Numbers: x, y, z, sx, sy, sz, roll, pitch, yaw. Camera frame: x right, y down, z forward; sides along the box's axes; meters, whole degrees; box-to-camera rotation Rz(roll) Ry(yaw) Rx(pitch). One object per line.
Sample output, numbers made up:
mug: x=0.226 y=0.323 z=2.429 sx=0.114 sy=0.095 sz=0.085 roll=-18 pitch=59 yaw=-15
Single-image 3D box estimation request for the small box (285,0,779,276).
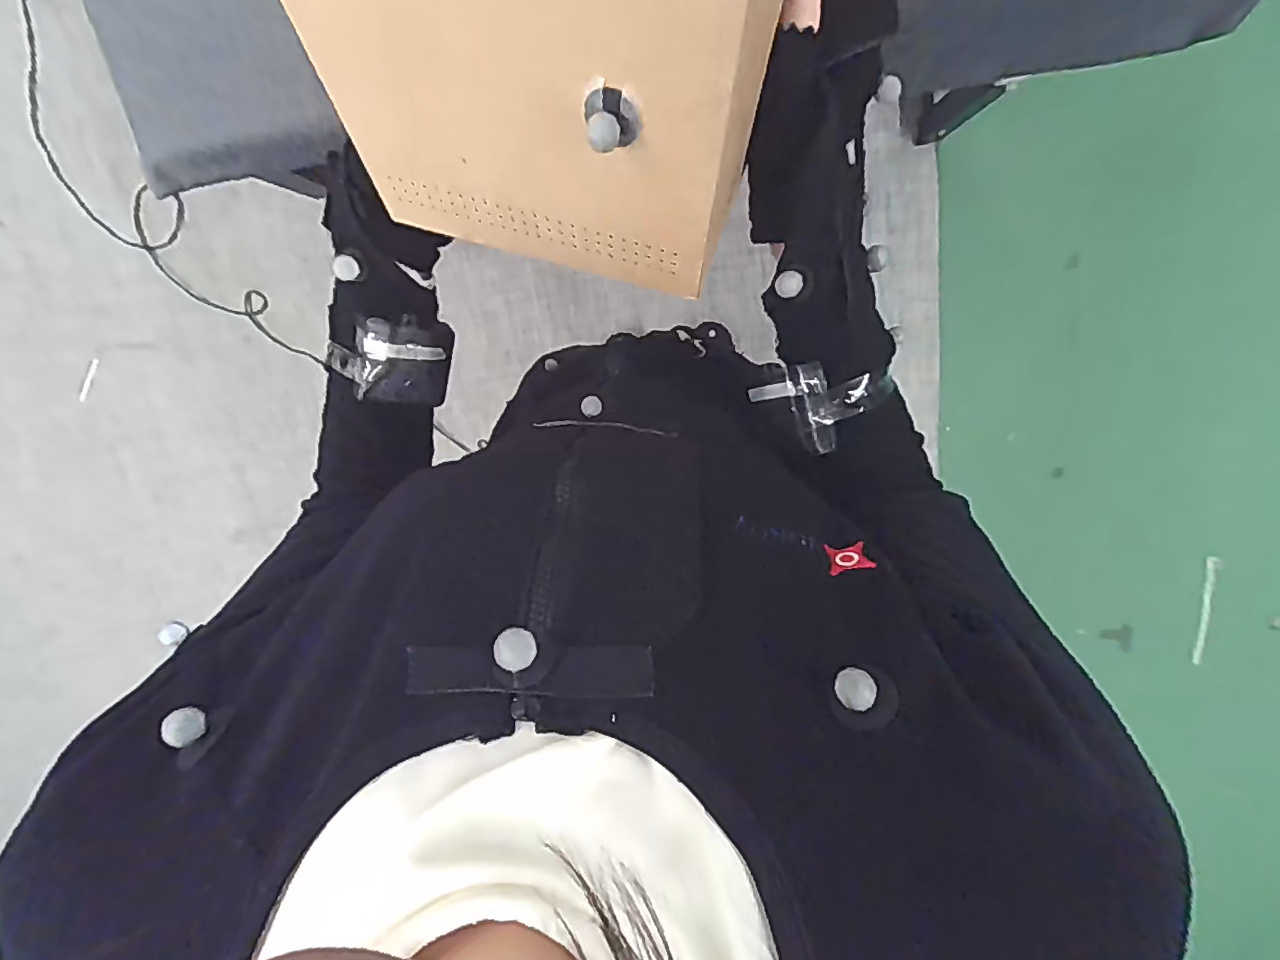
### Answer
small box: x=-0.030 y=-0.222 z=0.242 sx=0.179 sy=0.176 sz=0.168 roll=16 pitch=69 yaw=6
